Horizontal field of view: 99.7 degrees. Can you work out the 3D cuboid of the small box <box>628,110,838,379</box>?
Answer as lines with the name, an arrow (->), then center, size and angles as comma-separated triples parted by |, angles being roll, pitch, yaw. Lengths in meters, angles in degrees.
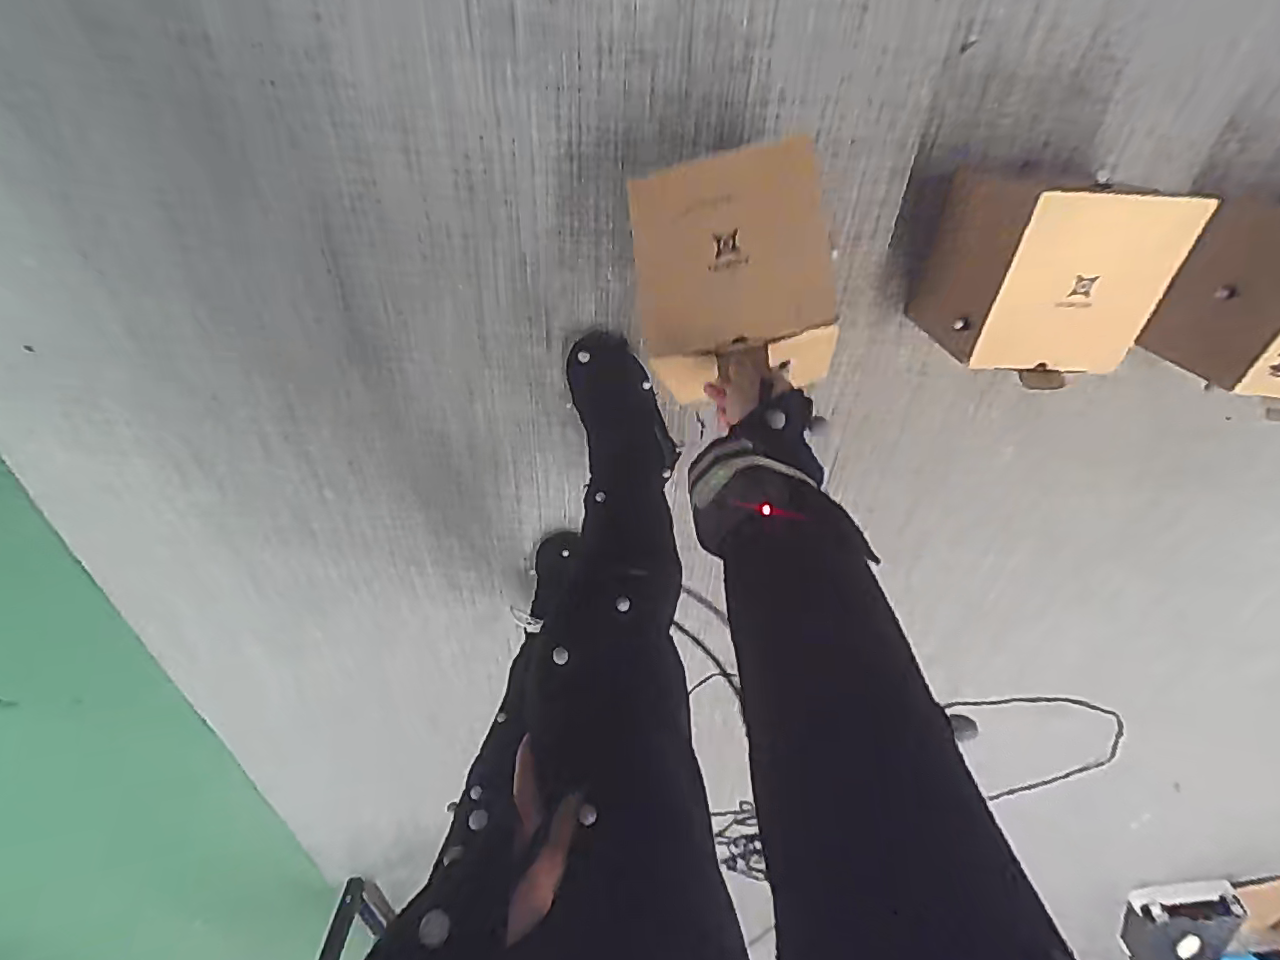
small box -> 0.093, -0.206, 0.531 | 0.168, 0.176, 0.179 | -6, 84, 12

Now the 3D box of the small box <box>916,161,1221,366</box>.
small box -> 0.436, -0.242, 0.594 | 0.168, 0.176, 0.179 | 2, 126, -1
